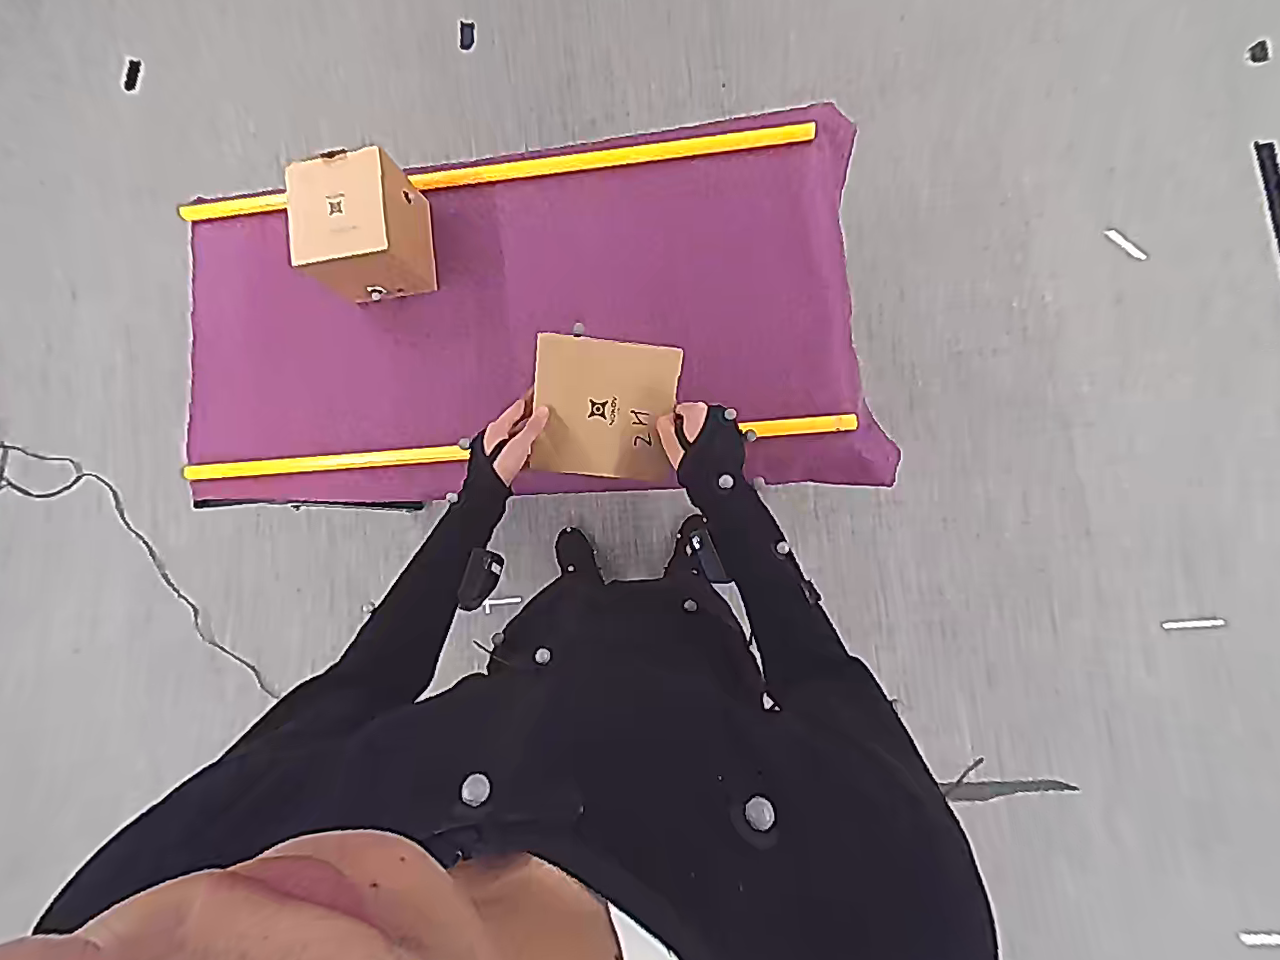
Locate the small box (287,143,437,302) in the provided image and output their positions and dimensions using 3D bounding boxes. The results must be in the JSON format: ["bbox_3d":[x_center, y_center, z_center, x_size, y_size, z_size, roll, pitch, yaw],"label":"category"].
[{"bbox_3d":[-0.470,-0.433,0.934,0.168,0.176,0.179,-7,85,6],"label":"small box"}]

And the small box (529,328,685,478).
[{"bbox_3d":[-0.046,-0.110,0.732,0.179,0.176,0.168,6,105,-5],"label":"small box"}]
